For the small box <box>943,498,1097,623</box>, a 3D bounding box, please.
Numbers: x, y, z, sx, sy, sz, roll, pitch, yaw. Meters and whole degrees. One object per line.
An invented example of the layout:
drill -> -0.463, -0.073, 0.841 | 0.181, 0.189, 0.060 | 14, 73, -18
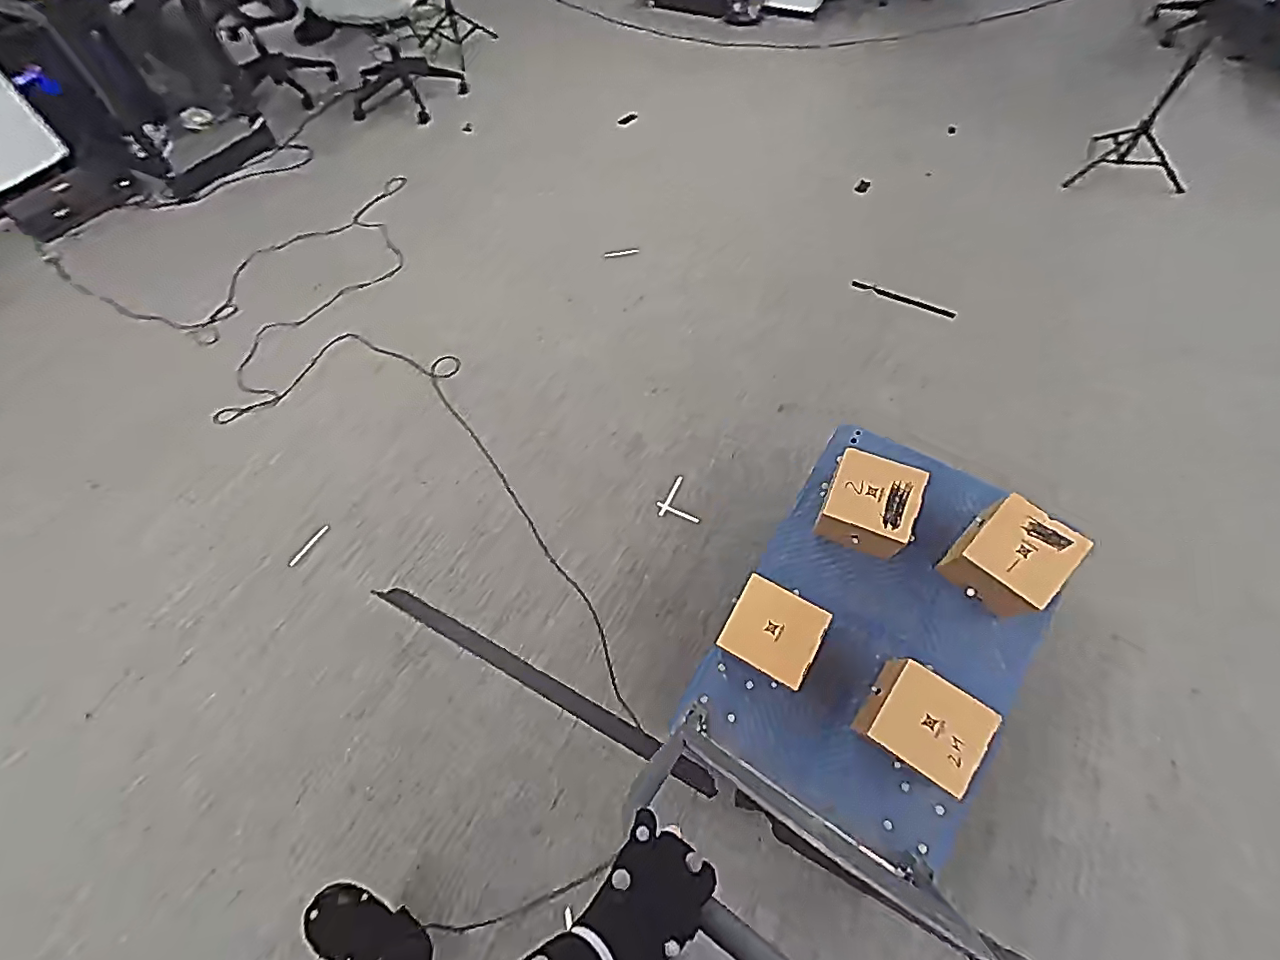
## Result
small box -> 0.765, 0.171, 1.114 | 0.168, 0.176, 0.179 | 42, 82, 21

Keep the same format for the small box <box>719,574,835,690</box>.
small box -> 0.280, 0.325, 1.141 | 0.179, 0.176, 0.168 | 28, 76, 17

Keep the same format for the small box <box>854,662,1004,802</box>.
small box -> 0.539, 0.475, 1.038 | 0.179, 0.176, 0.168 | 34, 79, 20
